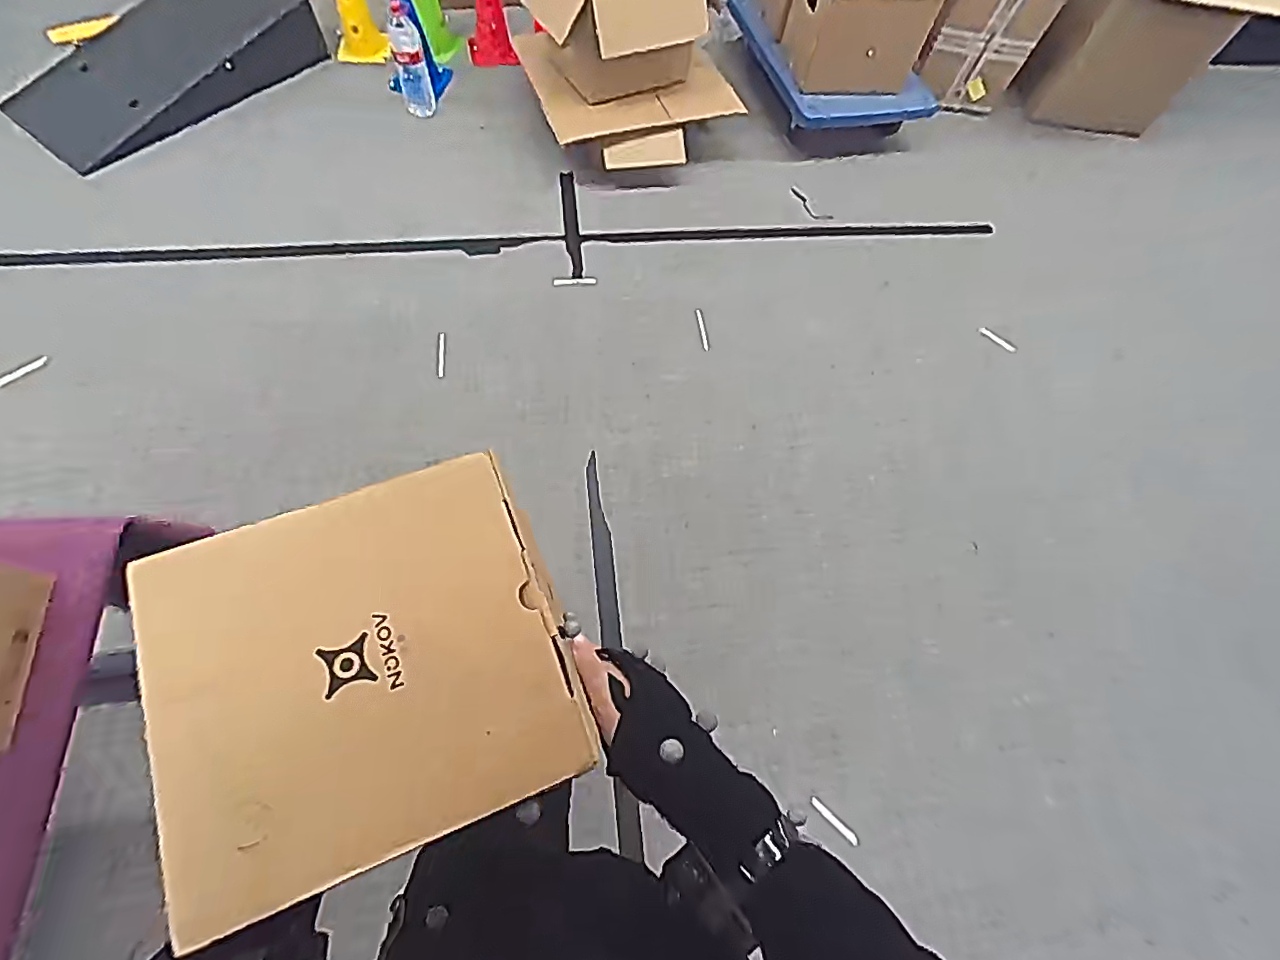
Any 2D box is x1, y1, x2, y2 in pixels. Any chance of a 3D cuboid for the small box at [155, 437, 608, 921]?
[{"bbox_3d":[-0.127,0.103,0.324,0.179,0.176,0.168,-20,73,-12],"label":"small box"}]
